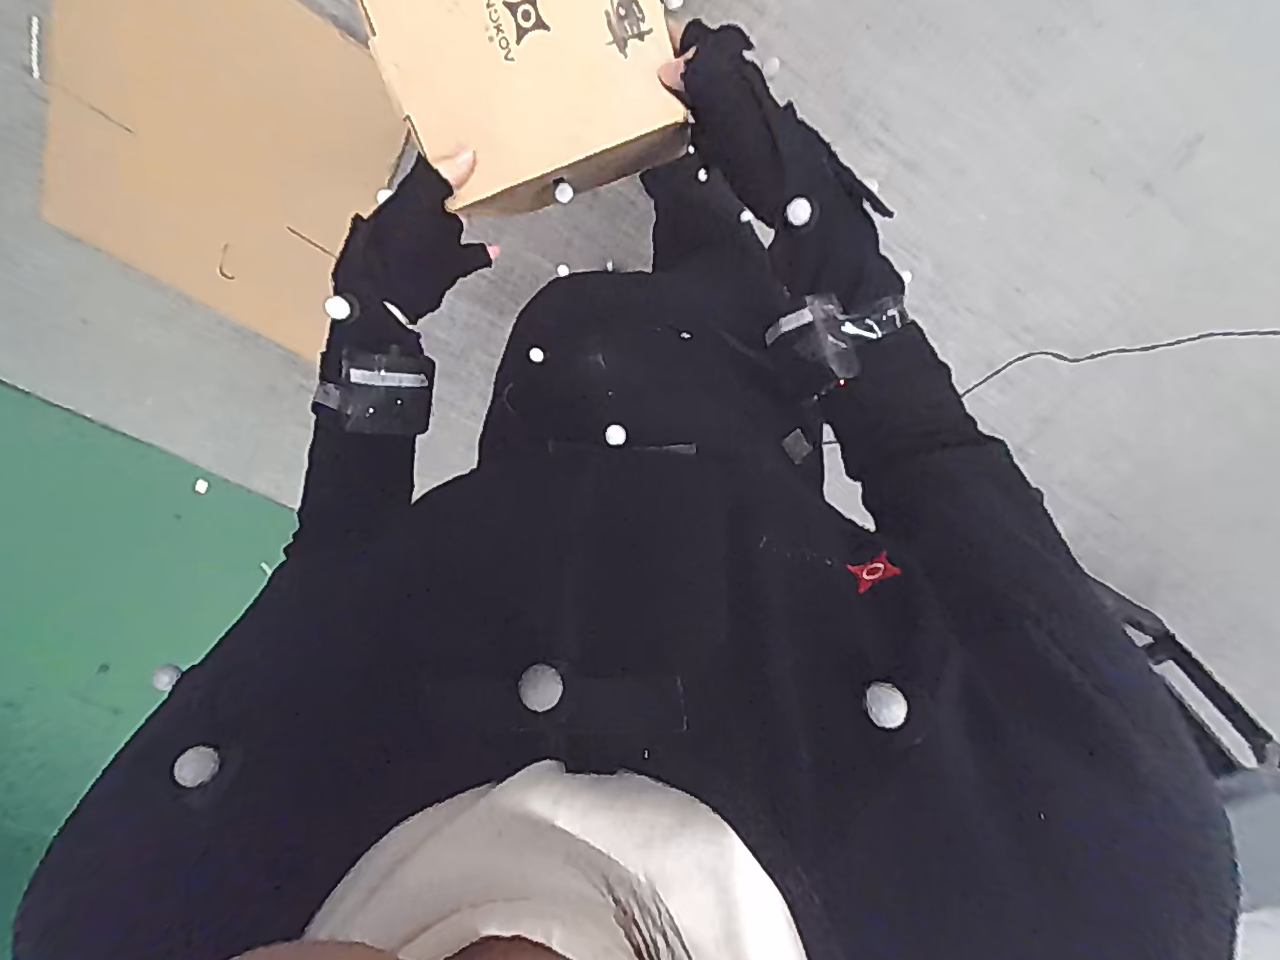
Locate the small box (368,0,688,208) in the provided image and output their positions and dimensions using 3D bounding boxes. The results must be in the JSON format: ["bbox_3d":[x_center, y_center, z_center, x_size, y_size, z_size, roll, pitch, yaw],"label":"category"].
[{"bbox_3d":[-0.070,-0.326,0.408,0.179,0.176,0.168,-18,109,13],"label":"small box"}]
